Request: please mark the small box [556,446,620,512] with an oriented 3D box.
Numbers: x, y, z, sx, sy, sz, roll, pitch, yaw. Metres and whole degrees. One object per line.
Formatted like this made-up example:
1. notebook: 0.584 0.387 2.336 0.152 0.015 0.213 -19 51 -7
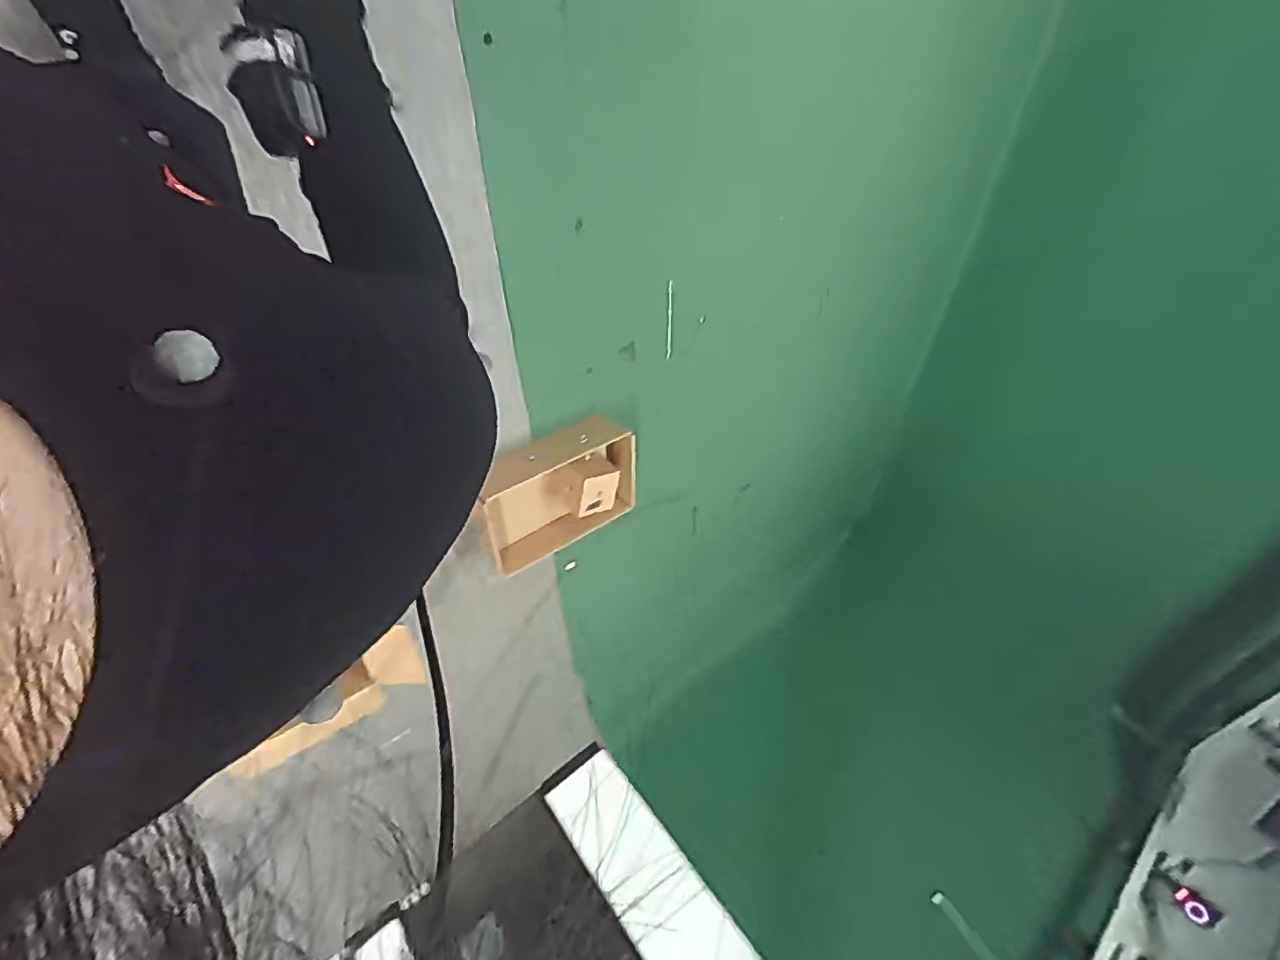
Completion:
1. small box: -0.205 -0.007 2.066 0.168 0.176 0.179 -15 132 -38
